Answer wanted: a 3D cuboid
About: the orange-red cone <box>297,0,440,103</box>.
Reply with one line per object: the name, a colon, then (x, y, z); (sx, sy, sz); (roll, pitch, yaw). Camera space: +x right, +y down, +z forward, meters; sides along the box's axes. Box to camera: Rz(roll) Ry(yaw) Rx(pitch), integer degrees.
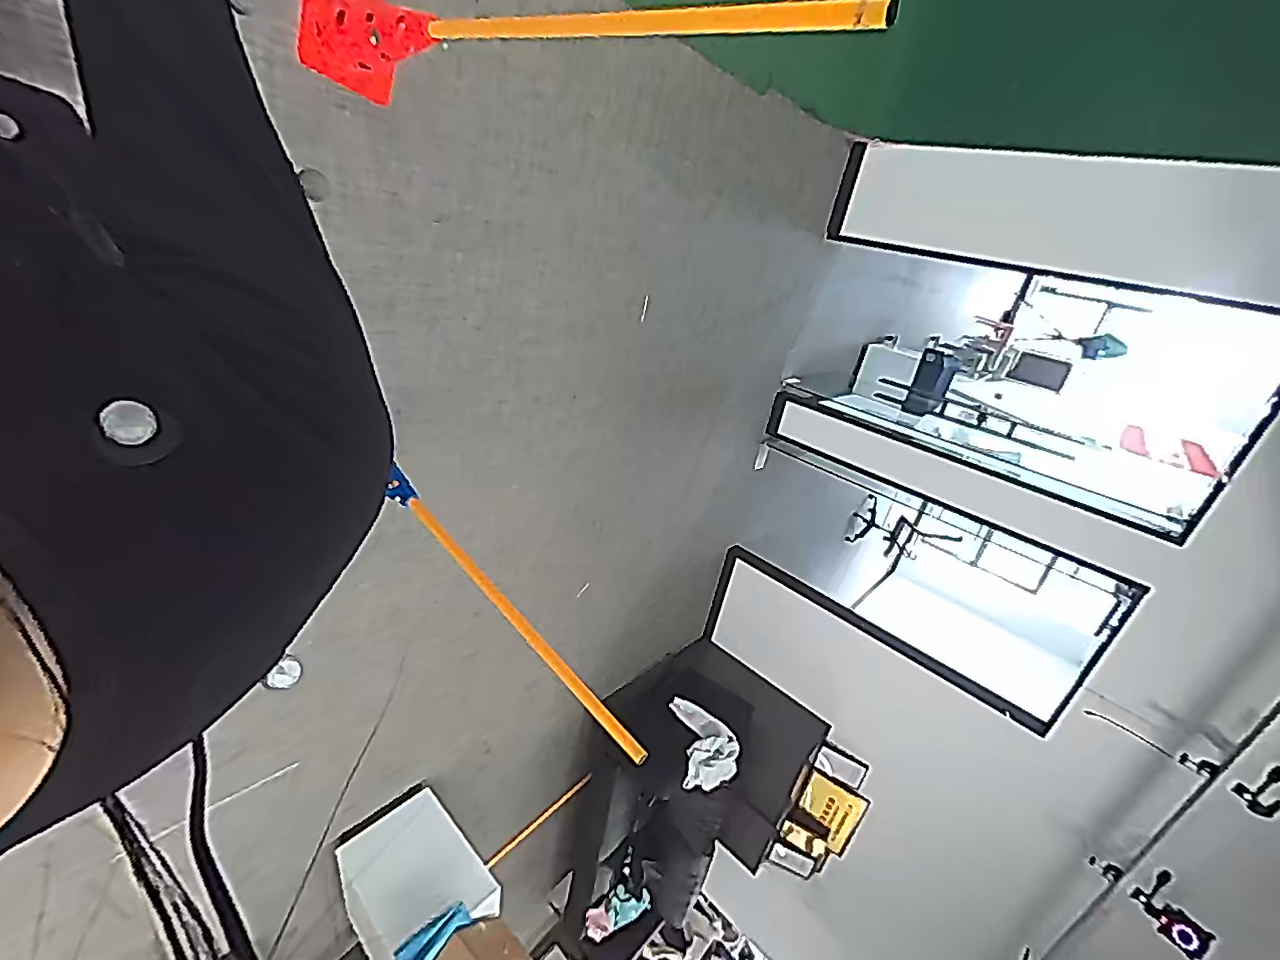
orange-red cone: (-0.504, -0.897, 1.082); (0.198, 0.360, 0.199); (0, 115, -52)
